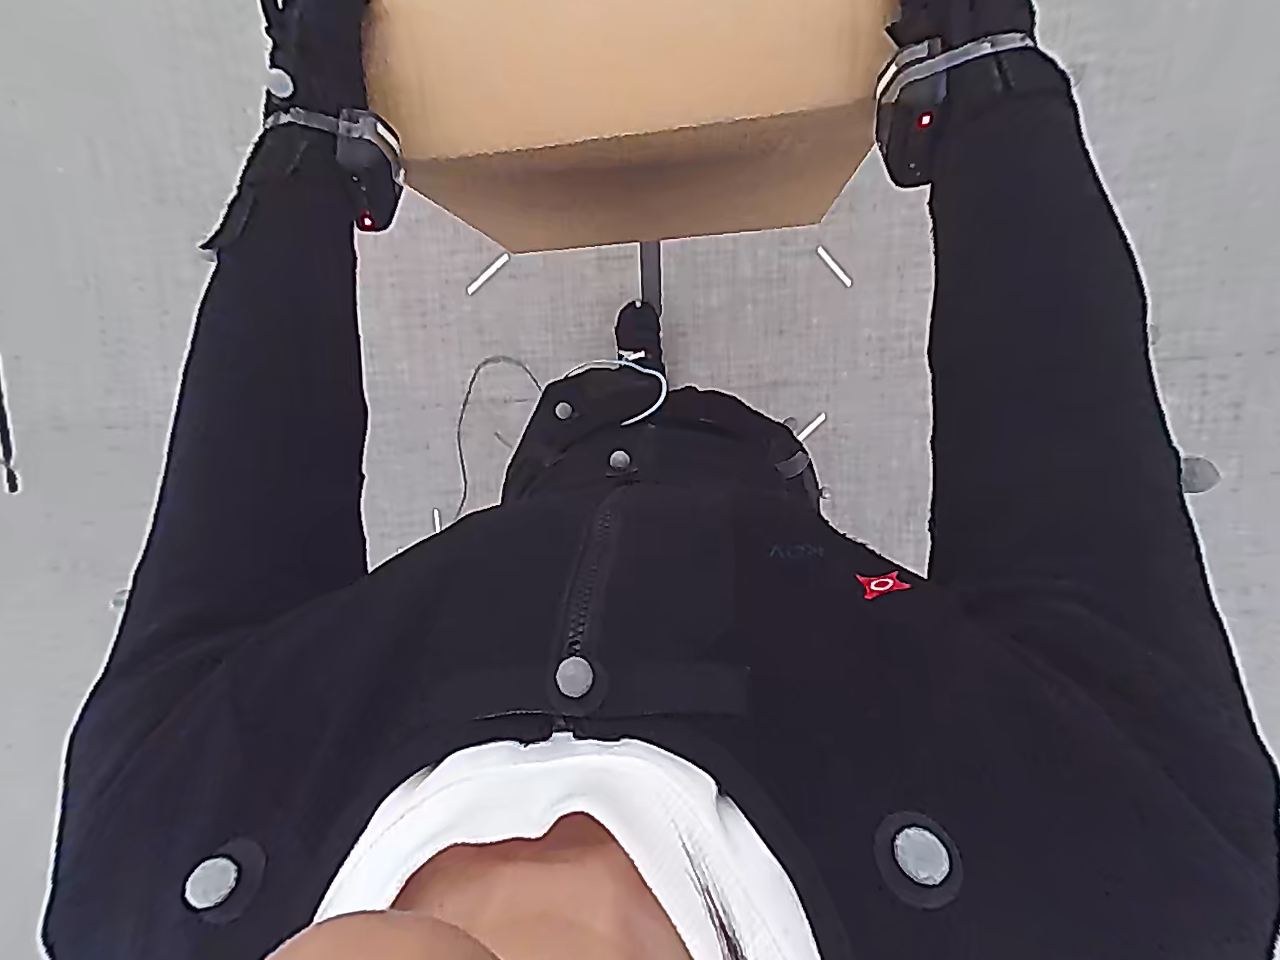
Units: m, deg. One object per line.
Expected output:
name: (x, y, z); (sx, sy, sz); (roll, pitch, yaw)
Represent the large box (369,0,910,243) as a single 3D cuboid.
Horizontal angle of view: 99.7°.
large box: (-0.001, -0.452, 0.531); (0.408, 0.320, 0.320); (-3, 101, 7)
